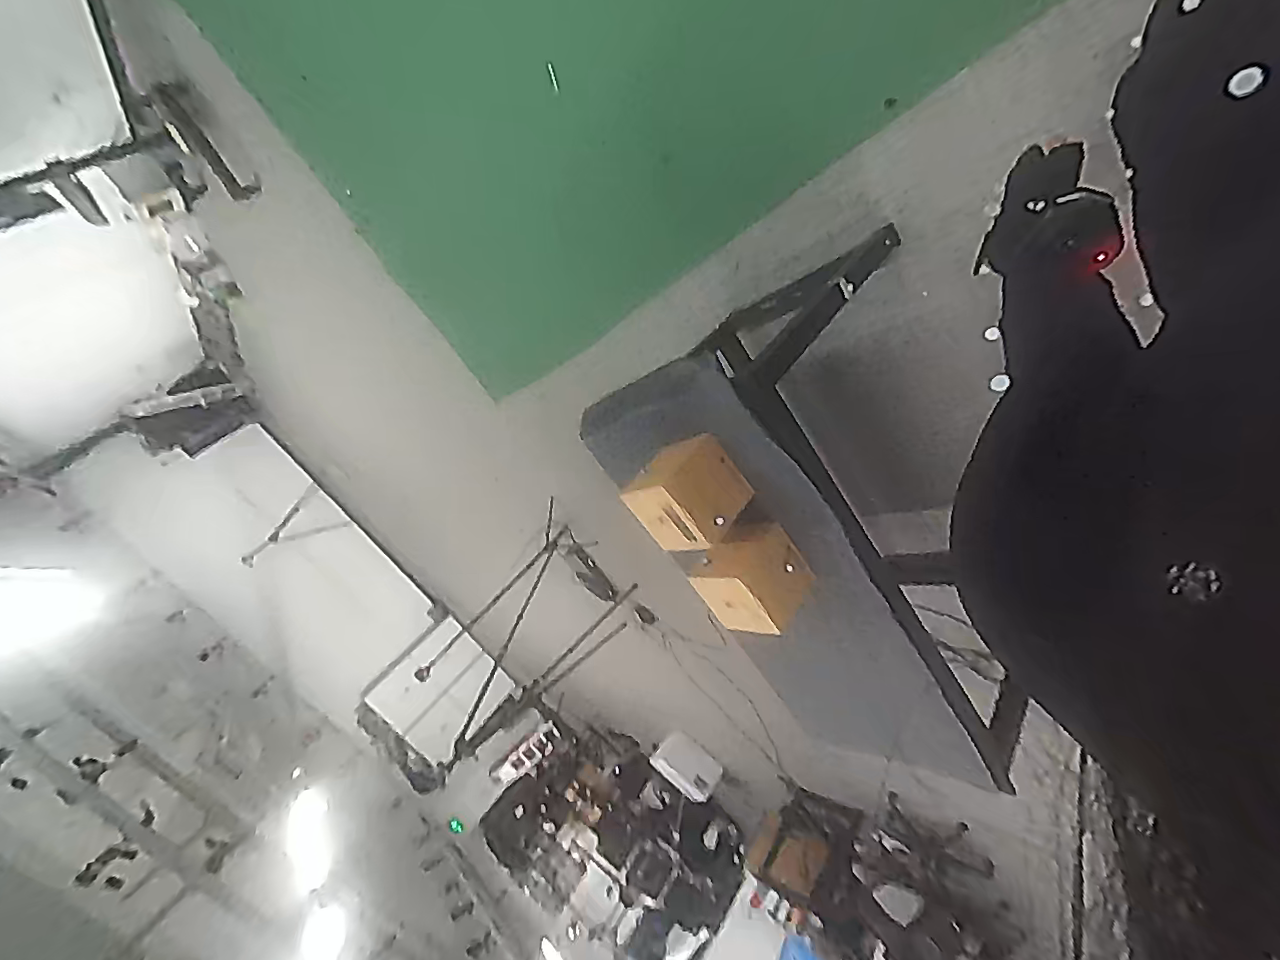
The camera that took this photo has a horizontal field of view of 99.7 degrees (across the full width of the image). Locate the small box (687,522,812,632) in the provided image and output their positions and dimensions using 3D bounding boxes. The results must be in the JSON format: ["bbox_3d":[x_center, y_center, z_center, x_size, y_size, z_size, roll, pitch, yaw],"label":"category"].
[{"bbox_3d":[0.244,0.209,1.194,0.168,0.176,0.179,52,148,-16],"label":"small box"}]
